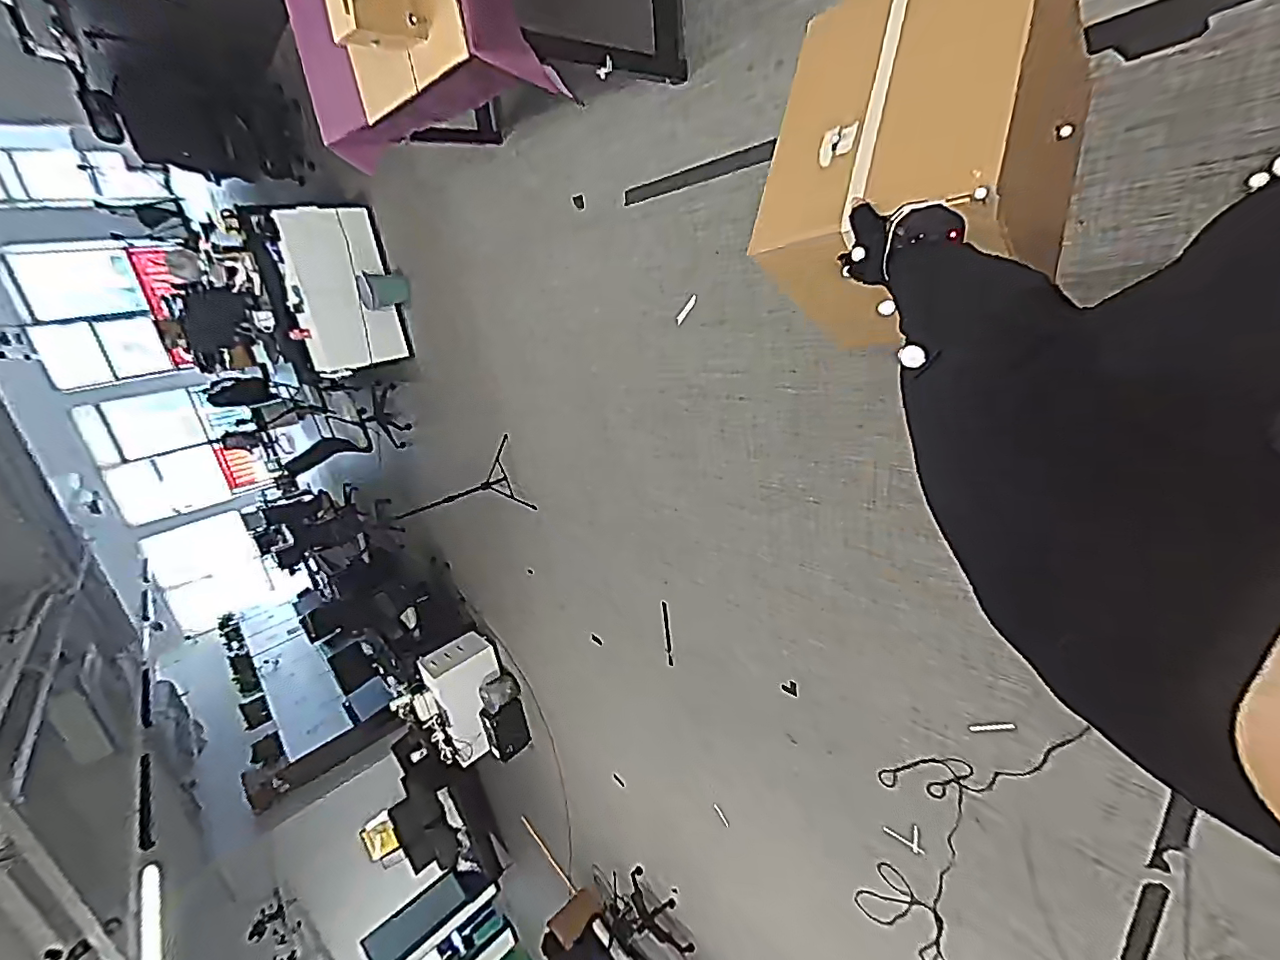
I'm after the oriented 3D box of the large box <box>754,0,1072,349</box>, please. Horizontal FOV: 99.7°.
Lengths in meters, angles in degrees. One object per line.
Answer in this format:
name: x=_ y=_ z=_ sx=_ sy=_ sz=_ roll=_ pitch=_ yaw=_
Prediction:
large box: x=0.420 y=-0.458 z=0.813 sx=0.320 sy=0.320 sz=0.408 roll=7 pitch=78 yaw=47
